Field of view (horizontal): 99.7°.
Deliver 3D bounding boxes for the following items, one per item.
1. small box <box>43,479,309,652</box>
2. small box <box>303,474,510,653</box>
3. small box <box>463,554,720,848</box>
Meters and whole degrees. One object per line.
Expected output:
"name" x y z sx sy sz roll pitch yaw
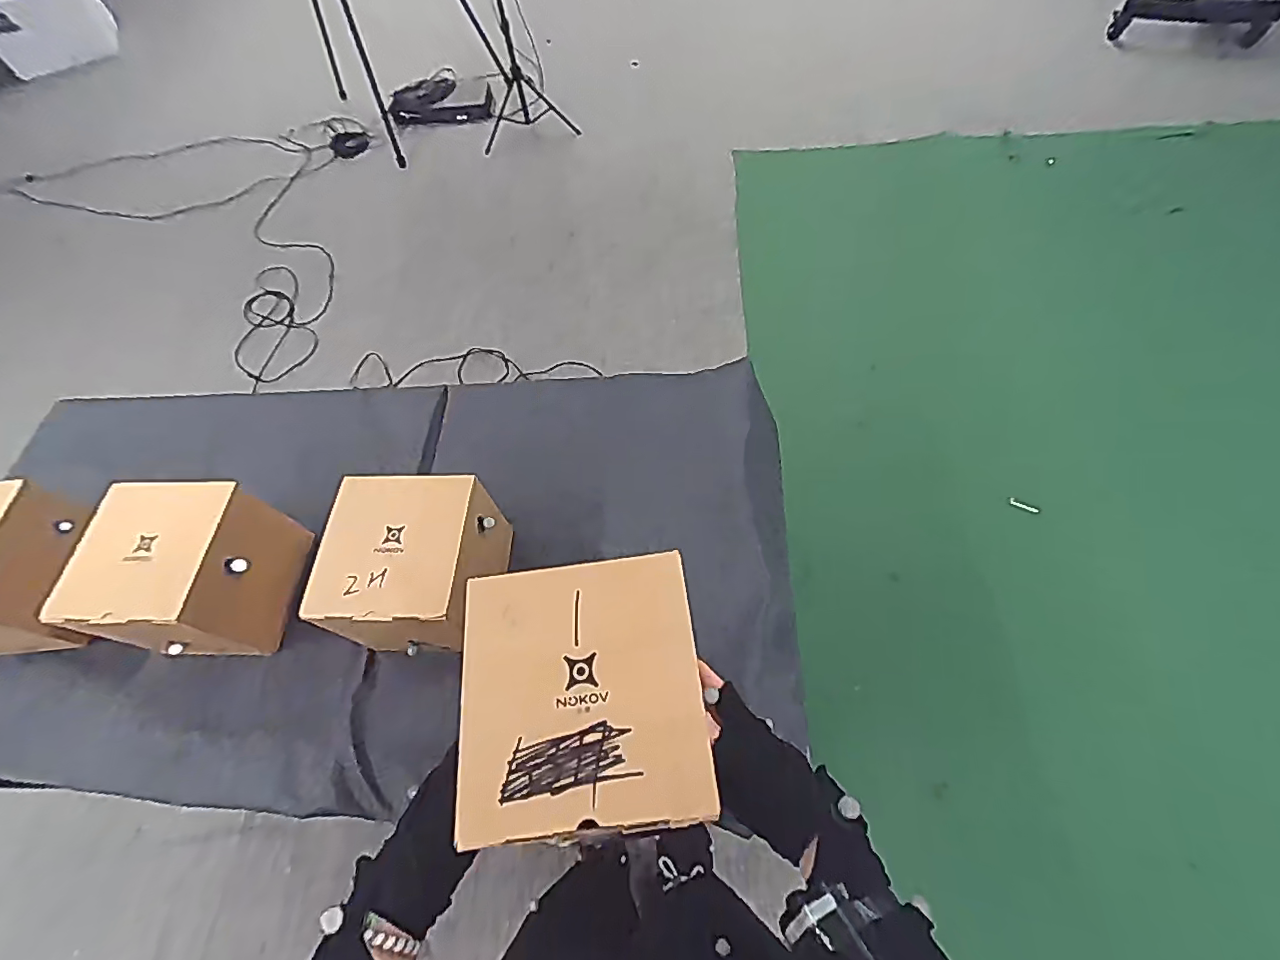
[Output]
"small box" -0.568 0.114 0.697 0.168 0.176 0.179 0 62 3
"small box" -0.271 0.108 0.678 0.168 0.176 0.179 0 61 4
"small box" -0.031 0.178 0.441 0.168 0.176 0.179 -7 61 0
